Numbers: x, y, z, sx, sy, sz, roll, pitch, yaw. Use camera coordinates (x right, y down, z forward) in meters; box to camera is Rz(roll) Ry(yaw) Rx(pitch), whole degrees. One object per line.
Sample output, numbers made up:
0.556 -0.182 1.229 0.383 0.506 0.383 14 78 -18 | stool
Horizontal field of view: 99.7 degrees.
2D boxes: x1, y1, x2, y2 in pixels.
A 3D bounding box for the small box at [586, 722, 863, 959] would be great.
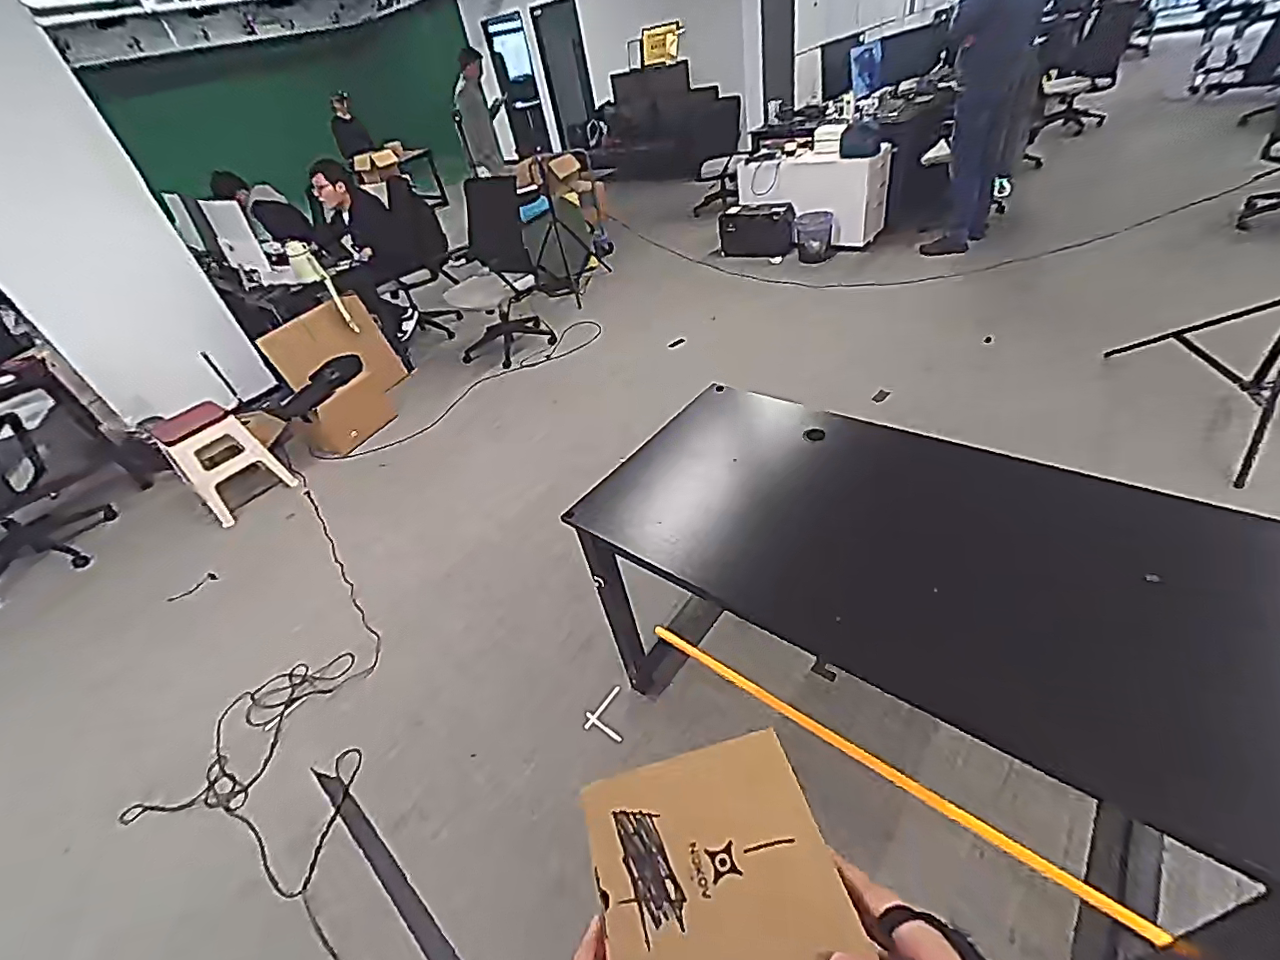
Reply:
0.064 0.349 0.472 0.179 0.176 0.168 -14 41 -6 | small box
